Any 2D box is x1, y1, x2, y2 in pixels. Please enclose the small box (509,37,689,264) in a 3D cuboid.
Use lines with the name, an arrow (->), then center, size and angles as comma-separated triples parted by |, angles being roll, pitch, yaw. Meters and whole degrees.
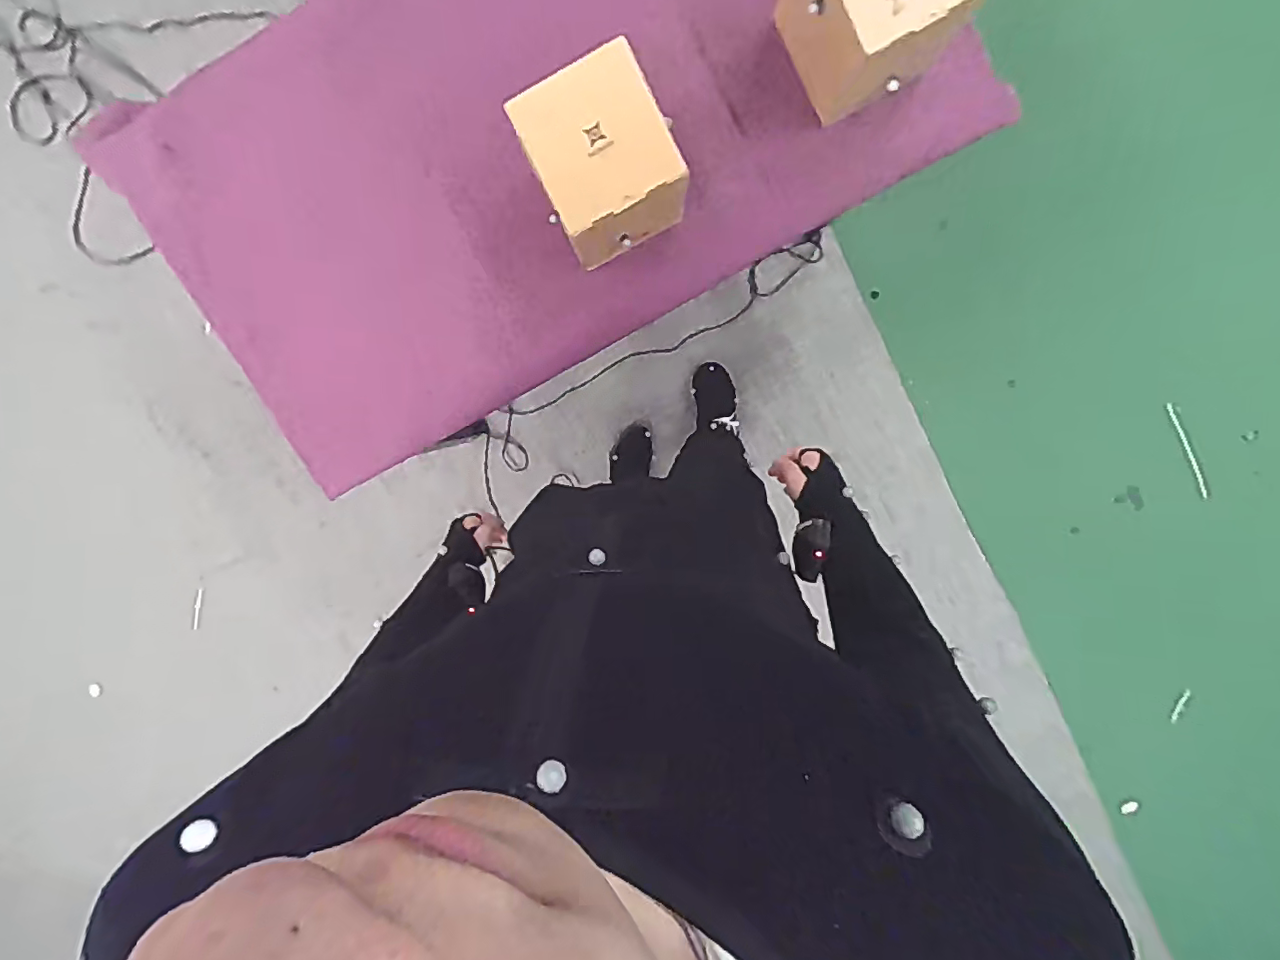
small box -> -0.051, -0.428, 0.736 | 0.168, 0.176, 0.179 | -28, 97, 4

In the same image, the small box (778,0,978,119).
small box -> 0.300, -0.626, 0.701 | 0.168, 0.176, 0.179 | -27, 96, 5
